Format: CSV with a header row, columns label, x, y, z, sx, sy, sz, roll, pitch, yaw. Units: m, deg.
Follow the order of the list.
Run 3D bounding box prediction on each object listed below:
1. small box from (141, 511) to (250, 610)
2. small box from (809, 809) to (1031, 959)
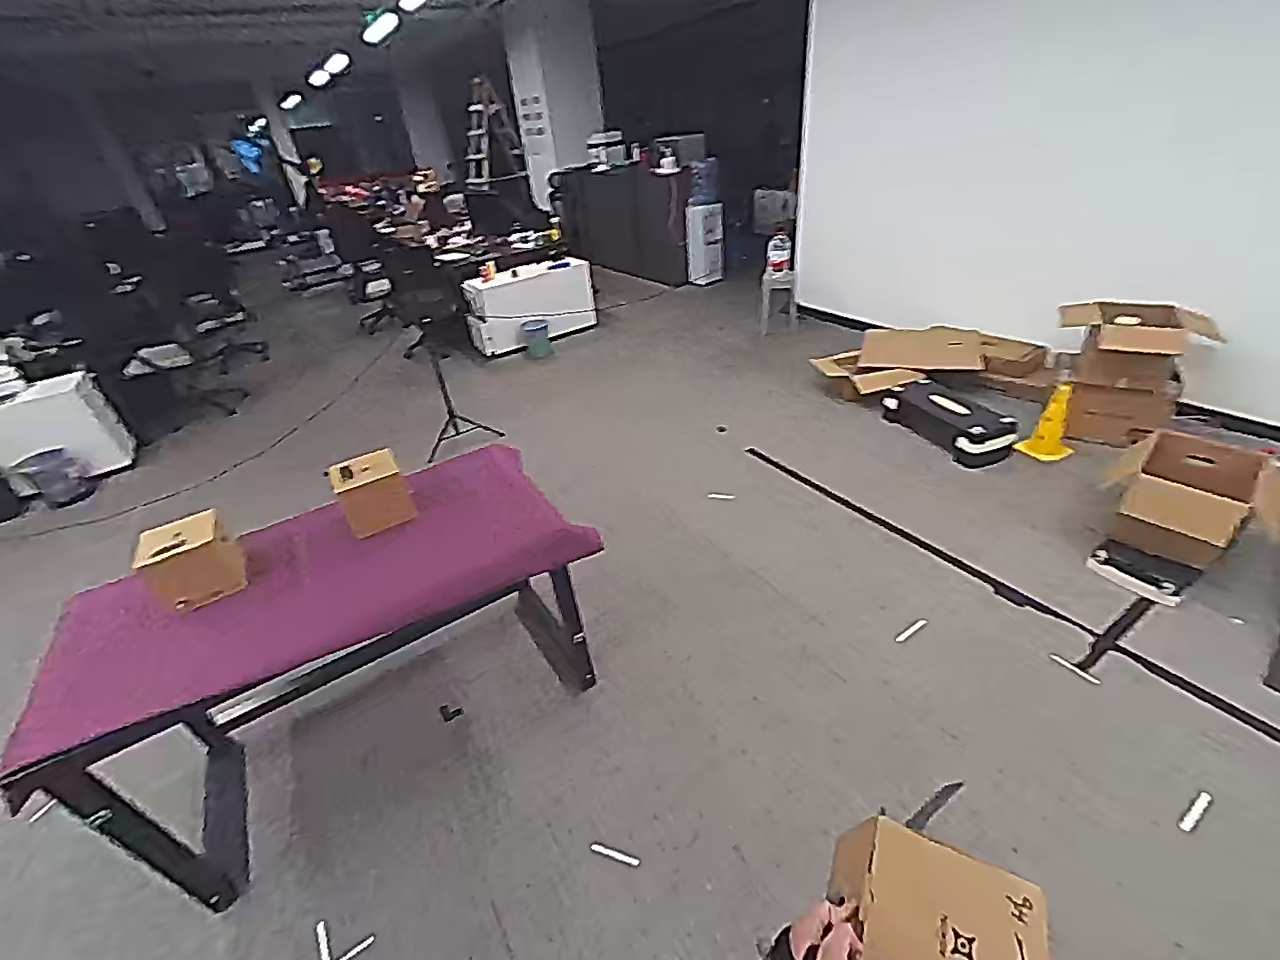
label,x,y,z,sx,sy,sz,roll,pitch,yaw
small box,-1.154,0.216,1.418,0.168,0.176,0.179,-24,38,-24
small box,0.302,0.509,0.607,0.179,0.176,0.168,17,51,16
